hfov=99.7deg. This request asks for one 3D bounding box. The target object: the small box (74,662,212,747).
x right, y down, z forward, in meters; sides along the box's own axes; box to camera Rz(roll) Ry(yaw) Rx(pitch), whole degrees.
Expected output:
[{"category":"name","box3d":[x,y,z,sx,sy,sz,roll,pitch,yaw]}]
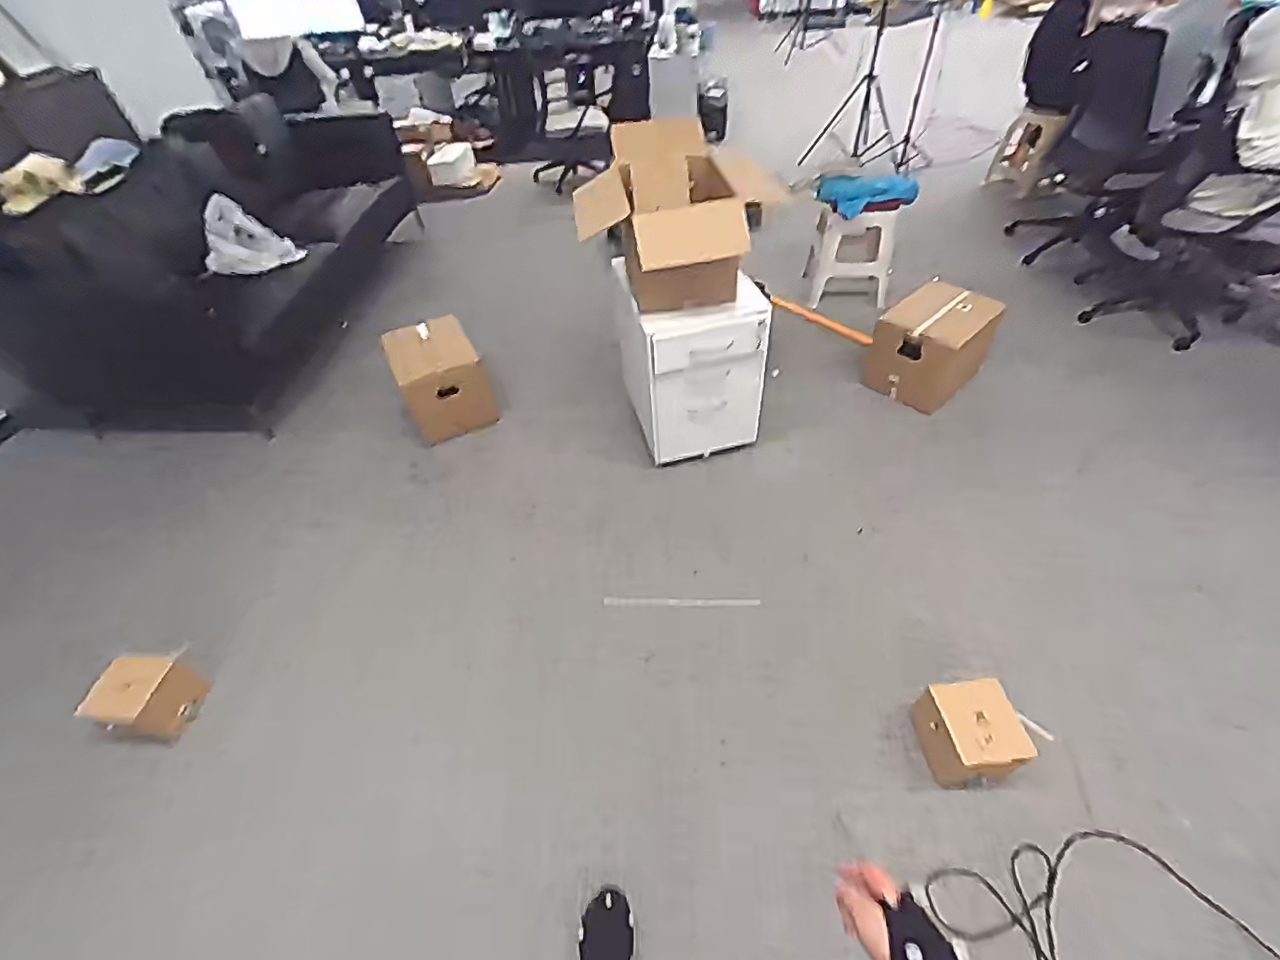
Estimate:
[{"category":"small box","box3d":[-1.336,0.611,1.468,0.179,0.176,0.168,1,48,5]}]

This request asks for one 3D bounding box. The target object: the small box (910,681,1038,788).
[{"category":"small box","box3d":[0.764,0.595,1.263,0.168,0.176,0.179,-6,47,-1]}]
